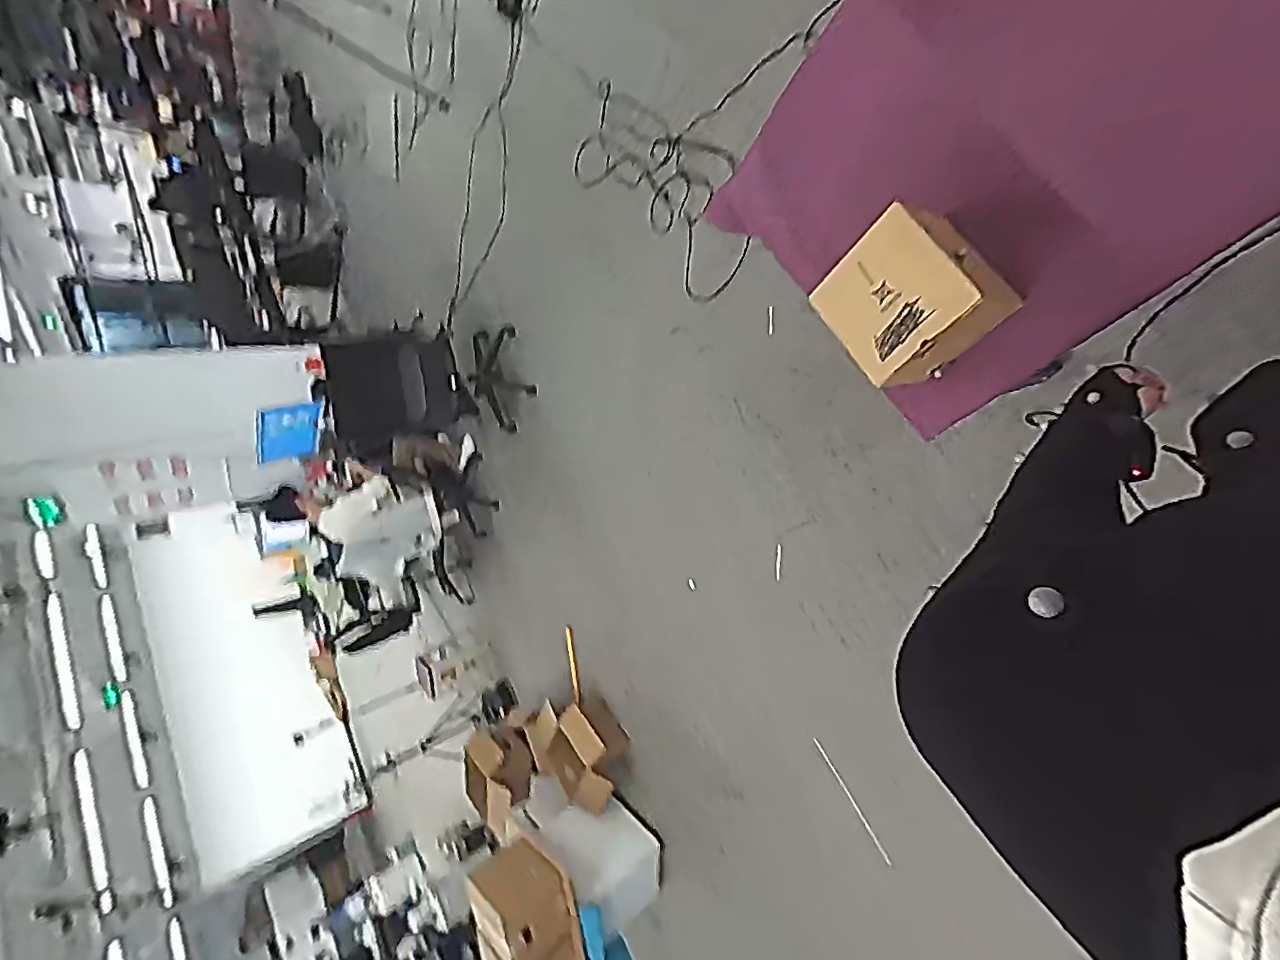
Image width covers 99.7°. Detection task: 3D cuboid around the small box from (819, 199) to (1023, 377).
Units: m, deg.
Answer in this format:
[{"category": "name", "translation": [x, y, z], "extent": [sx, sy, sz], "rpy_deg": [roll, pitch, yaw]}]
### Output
[{"category": "small box", "translation": [0.409, -0.275, 0.790], "extent": [0.168, 0.176, 0.179], "rpy_deg": [-49, 62, 46]}]
